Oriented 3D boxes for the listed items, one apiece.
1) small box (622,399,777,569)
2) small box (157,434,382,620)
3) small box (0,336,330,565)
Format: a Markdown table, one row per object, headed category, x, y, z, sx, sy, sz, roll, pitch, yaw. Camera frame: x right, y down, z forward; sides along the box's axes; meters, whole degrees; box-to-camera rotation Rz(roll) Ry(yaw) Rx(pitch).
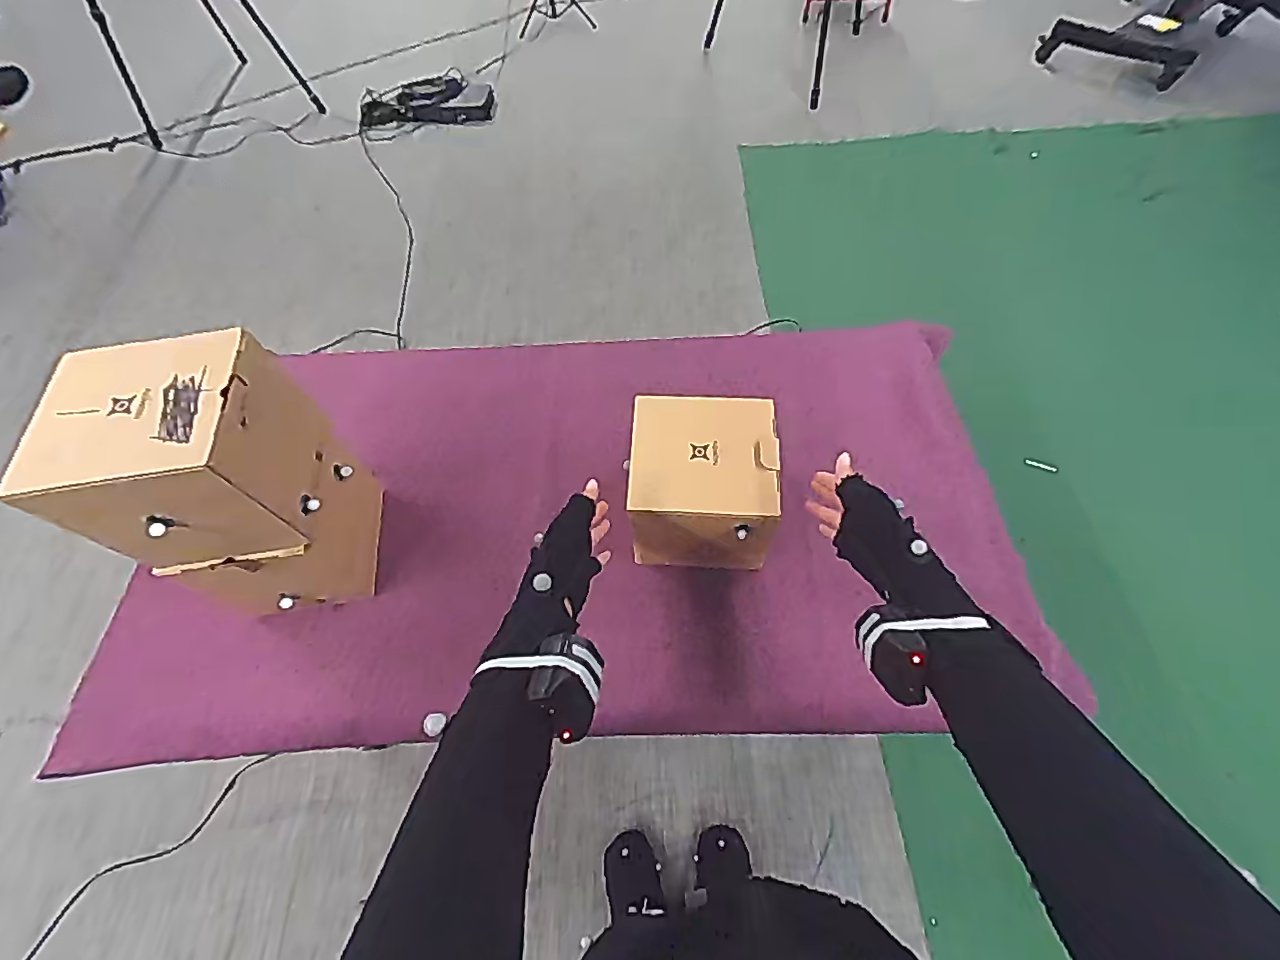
| category | x | y | z | sx | sy | sz | roll | pitch | yaw |
| --- | --- | --- | --- | --- | --- | --- | --- | --- | --- |
| small box | 0.075 | 0.010 | 0.711 | 0.179 | 0.176 | 0.168 | 2 | 60 | 4 |
| small box | -0.459 | 0.064 | 0.706 | 0.168 | 0.176 | 0.179 | -9 | 60 | -2 |
| small box | -0.460 | -0.024 | 0.564 | 0.179 | 0.176 | 0.168 | -7 | 58 | -1 |
